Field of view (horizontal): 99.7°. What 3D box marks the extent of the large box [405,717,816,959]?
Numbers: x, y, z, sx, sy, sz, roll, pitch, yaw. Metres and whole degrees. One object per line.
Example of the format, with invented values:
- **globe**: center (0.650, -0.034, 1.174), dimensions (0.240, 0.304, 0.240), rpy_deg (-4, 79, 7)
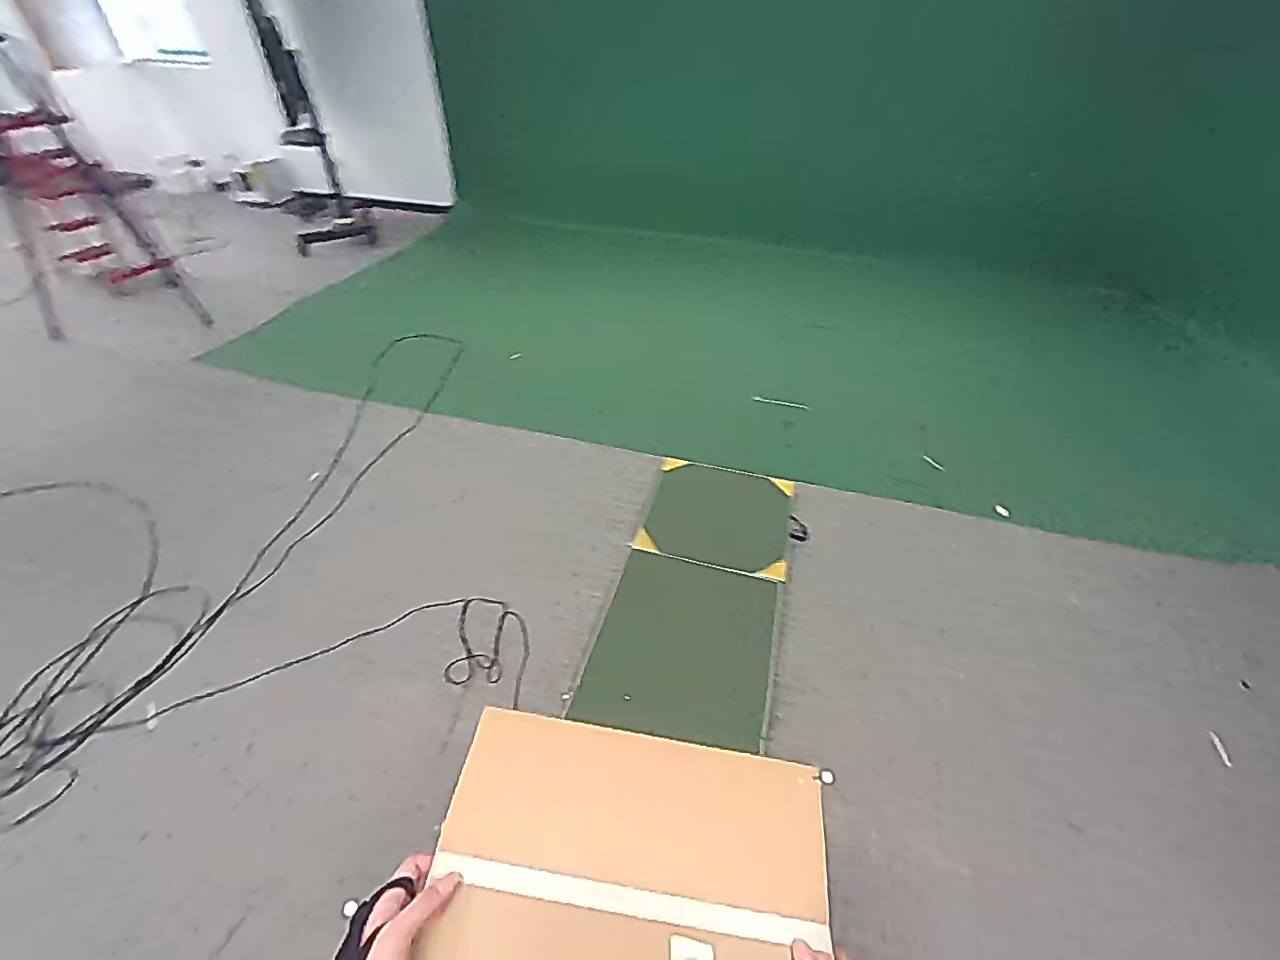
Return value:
- **large box**: center (-0.032, 0.525, 0.664), dimensions (0.408, 0.320, 0.320), rpy_deg (9, 49, 1)
